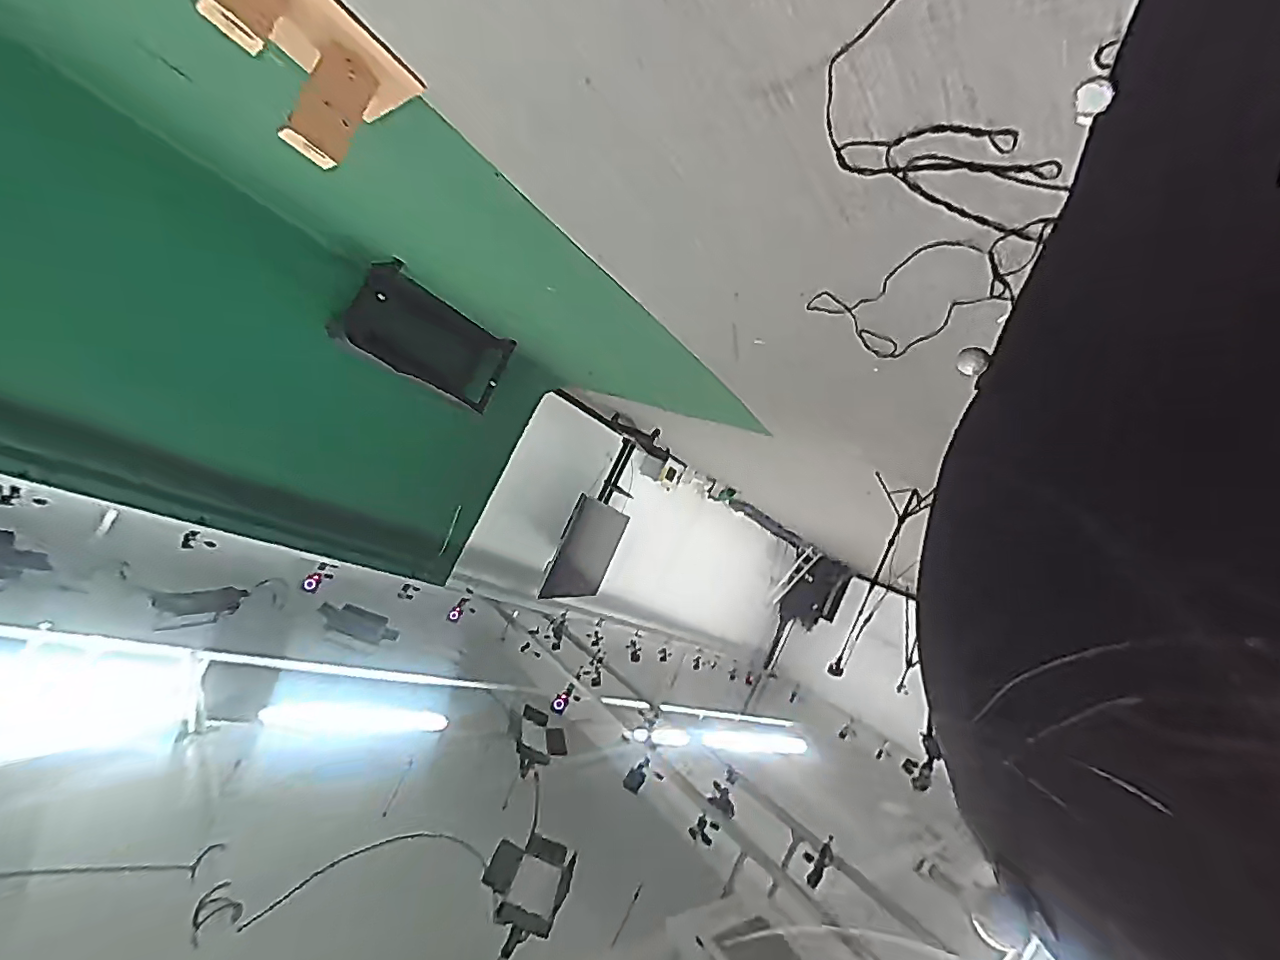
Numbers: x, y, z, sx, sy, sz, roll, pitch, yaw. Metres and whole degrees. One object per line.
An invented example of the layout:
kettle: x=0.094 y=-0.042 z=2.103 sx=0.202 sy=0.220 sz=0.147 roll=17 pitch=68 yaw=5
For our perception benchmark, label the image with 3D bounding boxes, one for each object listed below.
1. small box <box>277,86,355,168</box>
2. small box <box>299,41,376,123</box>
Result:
small box: x=-1.130 y=-1.234 z=1.892 sx=0.179 sy=0.176 sz=0.168 roll=23 pitch=176 yaw=43
small box: x=-1.060 y=-1.383 z=1.899 sx=0.179 sy=0.176 sz=0.168 roll=22 pitch=176 yaw=45
